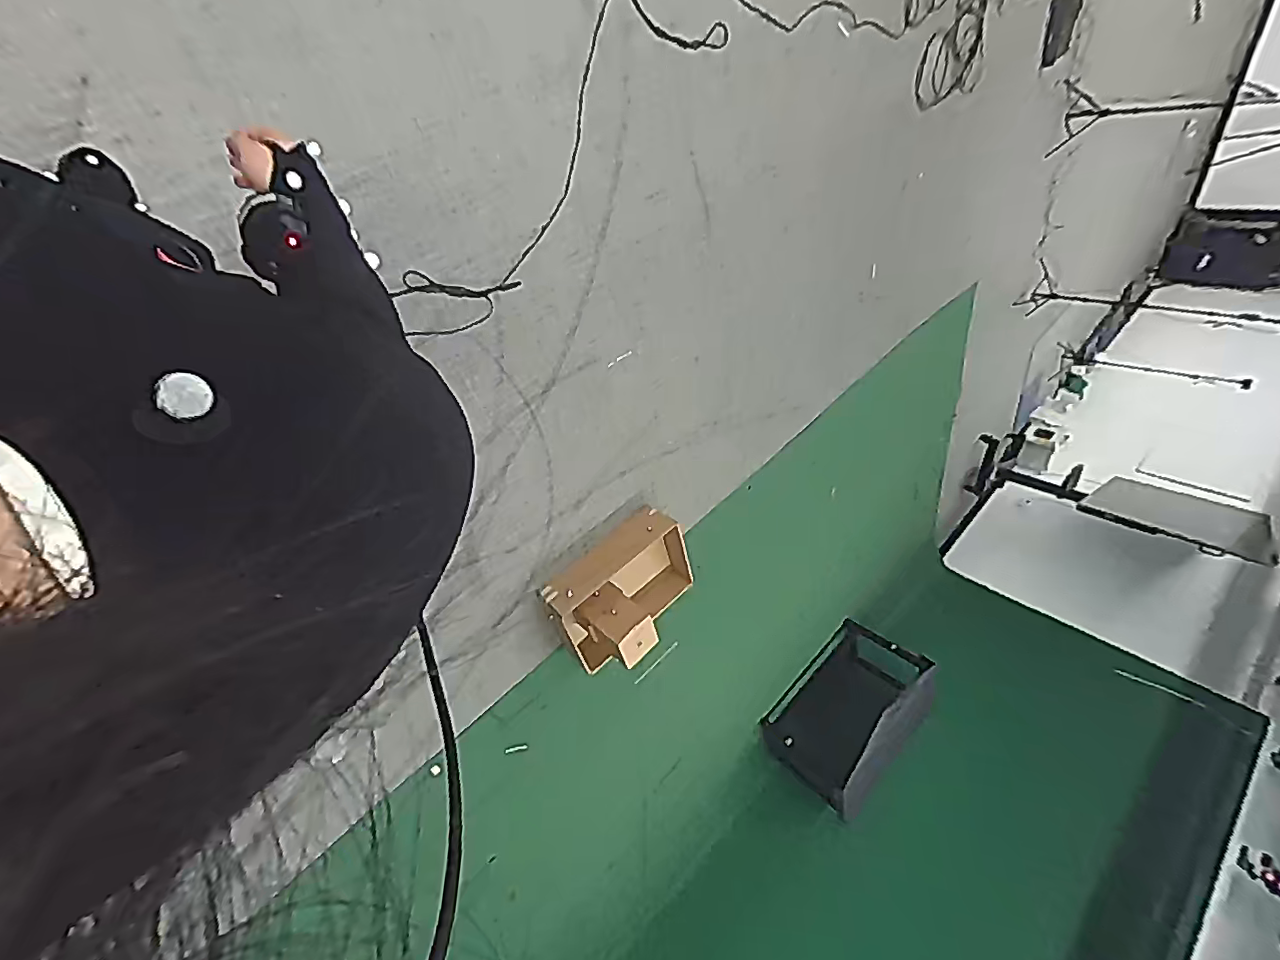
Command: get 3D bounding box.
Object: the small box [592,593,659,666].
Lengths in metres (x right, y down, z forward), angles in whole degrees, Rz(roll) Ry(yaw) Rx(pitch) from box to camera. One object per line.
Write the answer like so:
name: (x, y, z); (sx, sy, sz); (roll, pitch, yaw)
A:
small box: (-0.054, 0.562, 2.052); (0.168, 0.176, 0.179); (-38, 133, -25)
